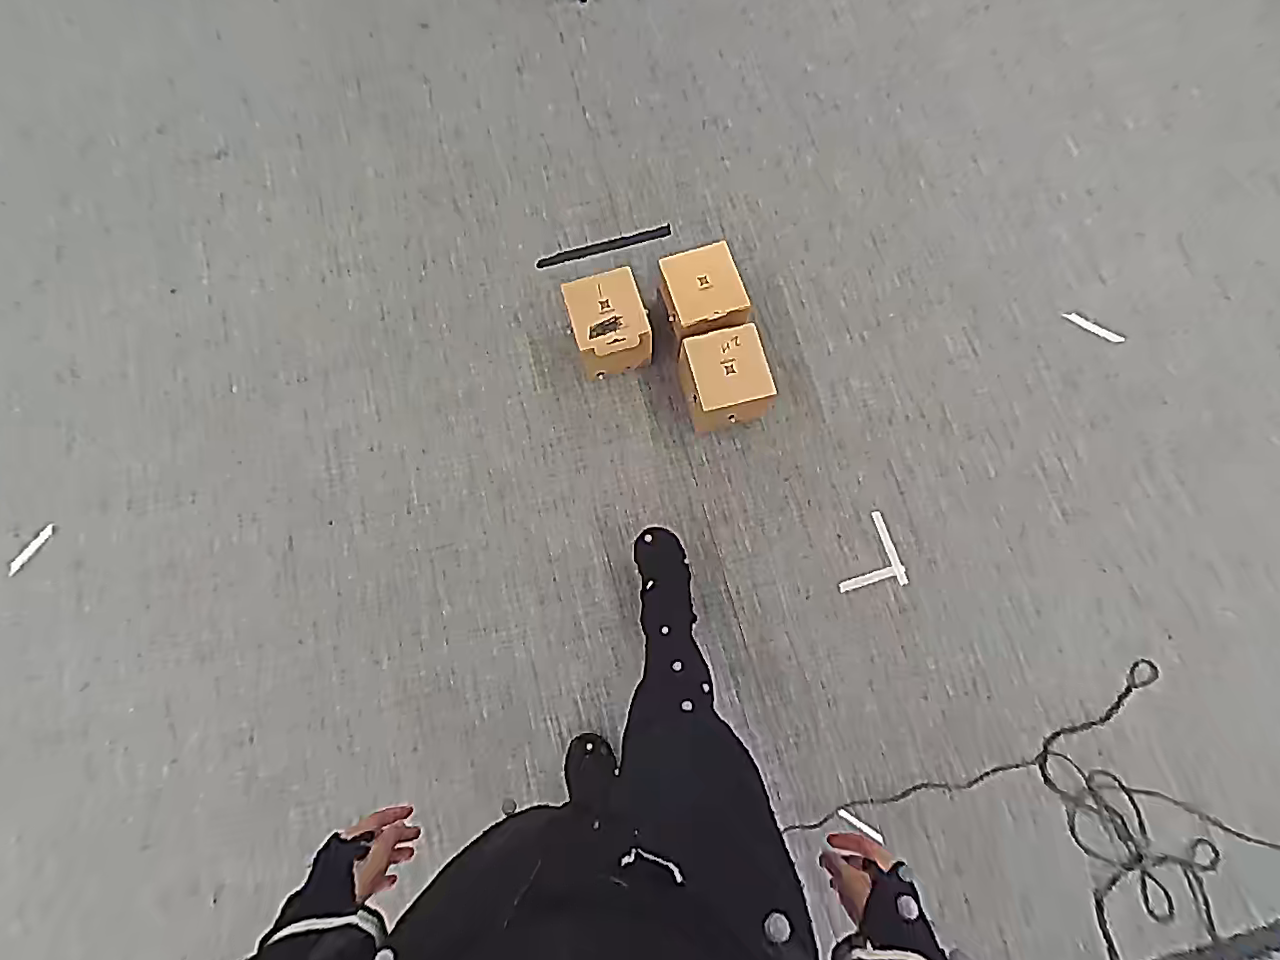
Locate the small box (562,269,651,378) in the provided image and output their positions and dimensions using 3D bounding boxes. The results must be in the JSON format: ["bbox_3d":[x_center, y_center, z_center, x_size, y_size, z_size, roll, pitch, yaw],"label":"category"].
[{"bbox_3d":[-0.074,-0.358,1.275,0.168,0.176,0.179,-16,77,-3],"label":"small box"}]
